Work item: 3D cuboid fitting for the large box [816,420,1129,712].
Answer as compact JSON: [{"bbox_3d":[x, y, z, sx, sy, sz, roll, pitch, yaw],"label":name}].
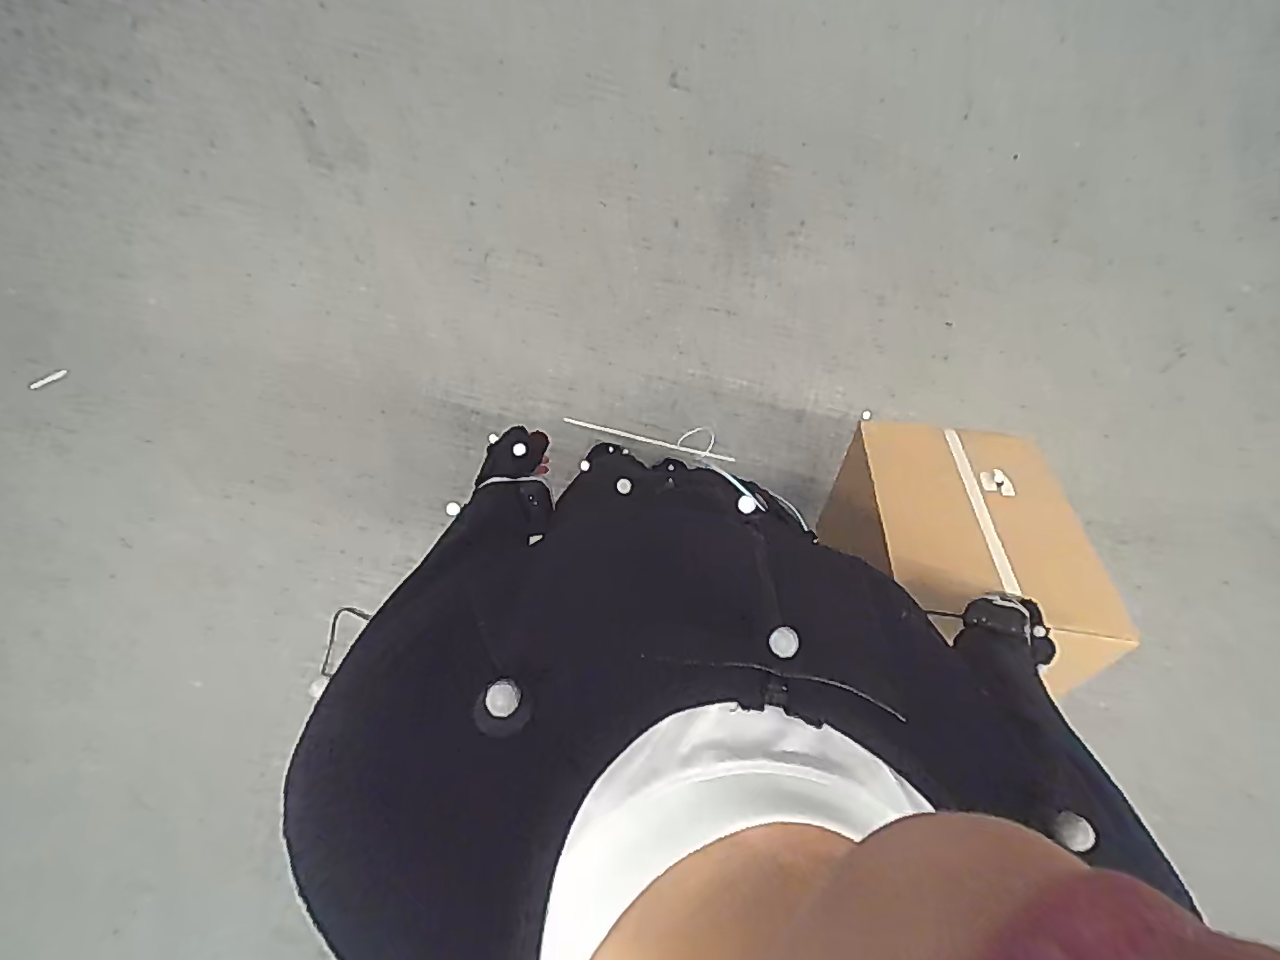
[{"bbox_3d":[0.525,0.147,0.973,0.320,0.408,0.320,8,136,4],"label":"large box"}]
